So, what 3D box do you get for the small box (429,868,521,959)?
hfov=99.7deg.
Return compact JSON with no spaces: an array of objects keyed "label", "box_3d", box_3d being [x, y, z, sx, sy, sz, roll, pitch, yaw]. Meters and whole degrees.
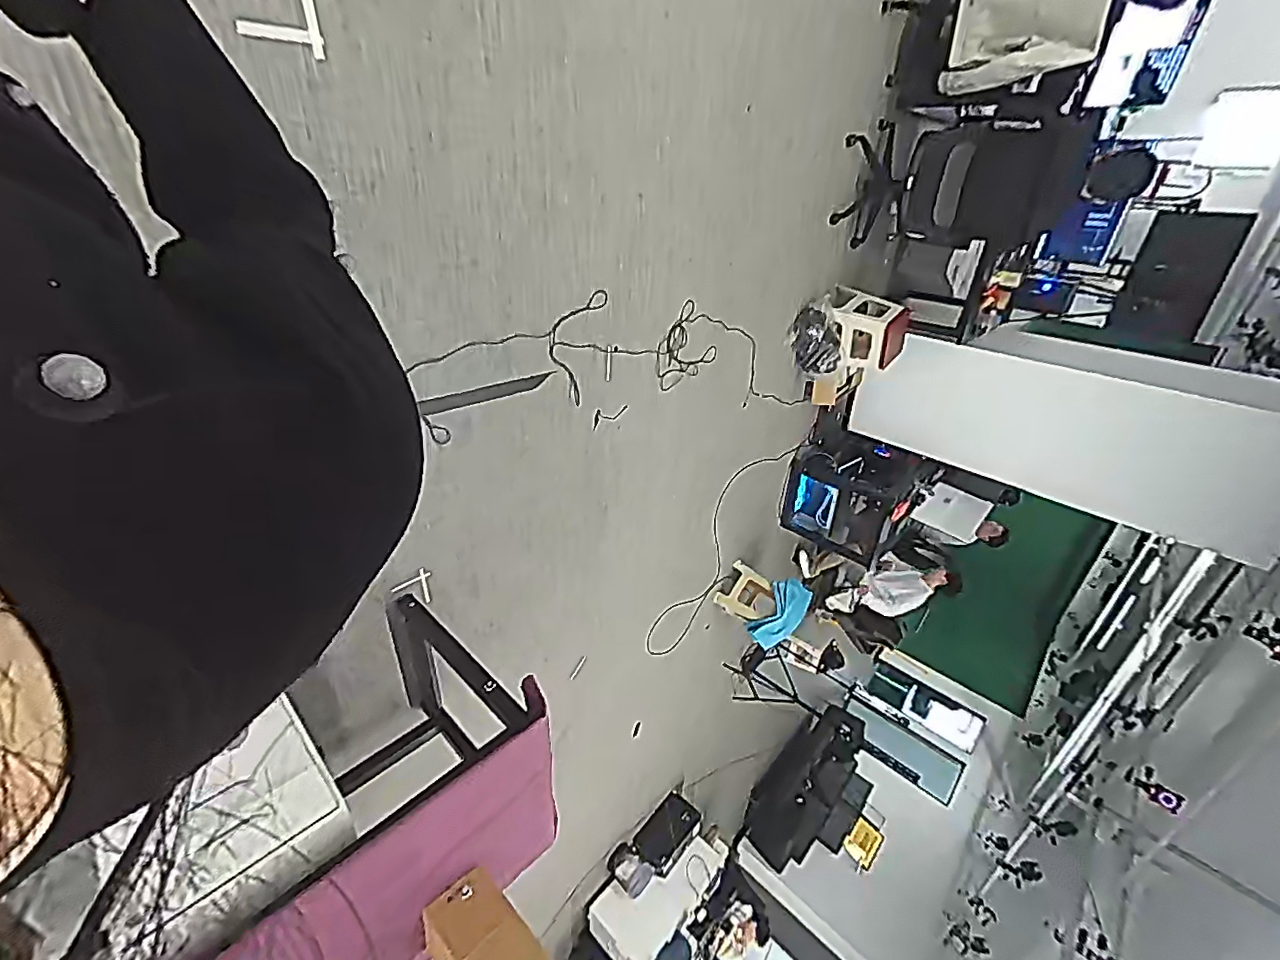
[{"label":"small box","box_3d":[-0.422,1.156,1.385,0.168,0.176,0.179,-21,124,-45]}]
